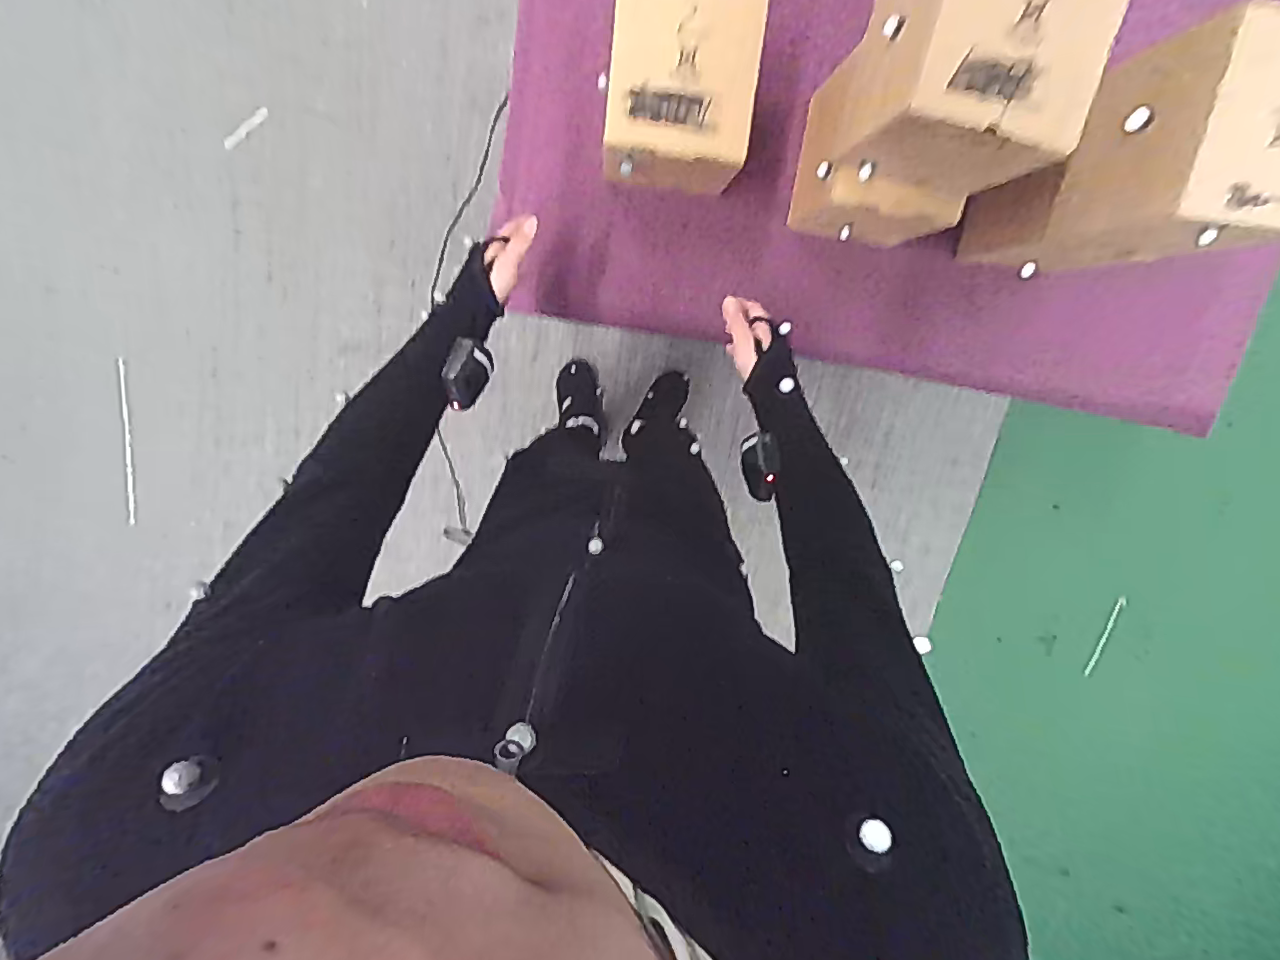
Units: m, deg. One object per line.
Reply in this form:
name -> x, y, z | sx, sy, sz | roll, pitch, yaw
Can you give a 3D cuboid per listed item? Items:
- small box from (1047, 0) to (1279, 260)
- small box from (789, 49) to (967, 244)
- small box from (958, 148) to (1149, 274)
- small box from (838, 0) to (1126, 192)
small box -> 0.587, -0.349, 0.577 | 0.168, 0.176, 0.179 | 5, 104, -5
small box -> 0.311, -0.426, 0.707 | 0.168, 0.176, 0.179 | 6, 105, -6
small box -> 0.573, -0.390, 0.735 | 0.168, 0.176, 0.179 | 5, 105, -6
small box -> 0.323, -0.413, 0.540 | 0.168, 0.176, 0.179 | 10, 104, -8
